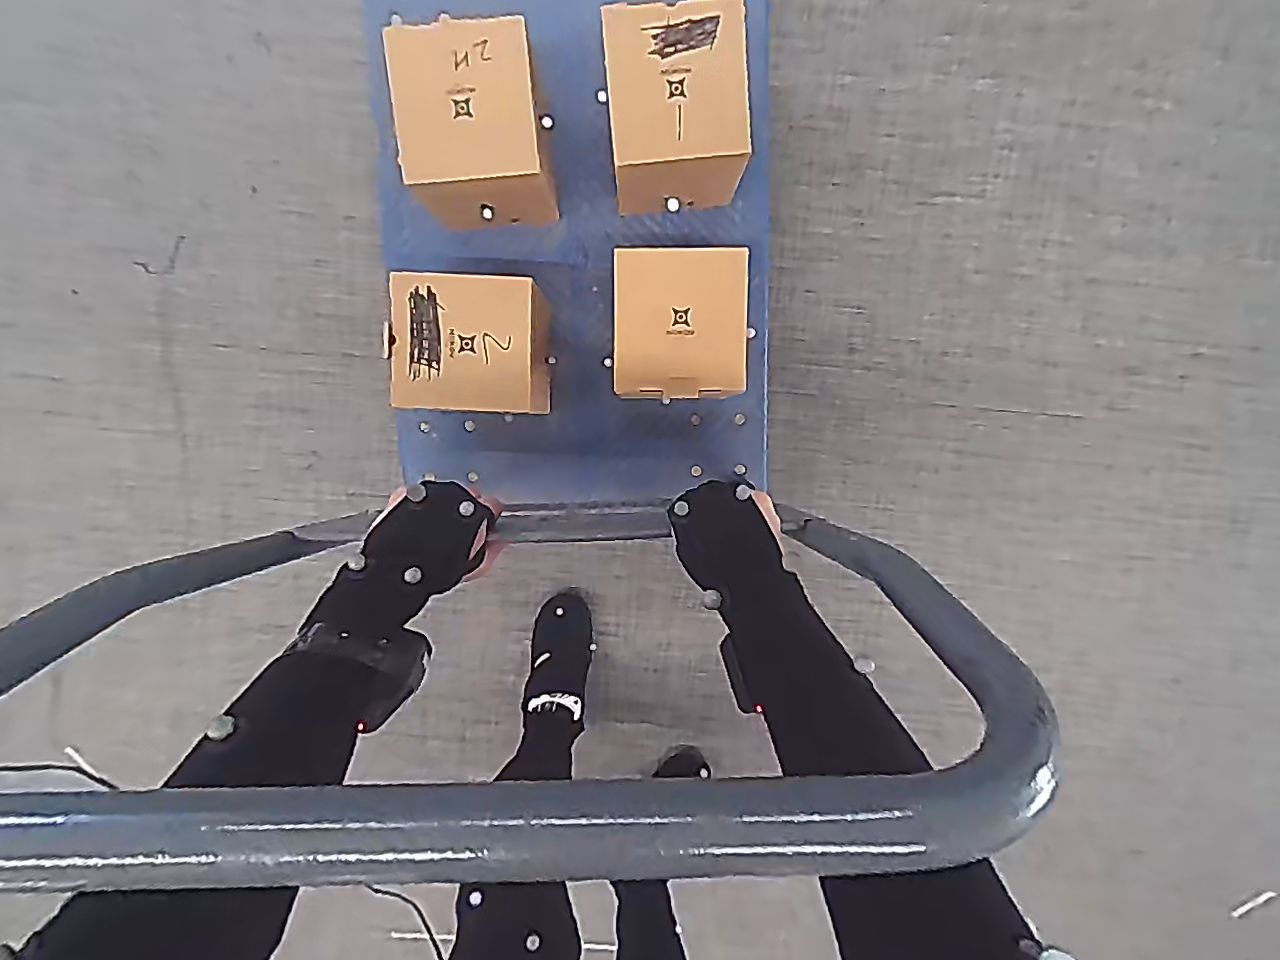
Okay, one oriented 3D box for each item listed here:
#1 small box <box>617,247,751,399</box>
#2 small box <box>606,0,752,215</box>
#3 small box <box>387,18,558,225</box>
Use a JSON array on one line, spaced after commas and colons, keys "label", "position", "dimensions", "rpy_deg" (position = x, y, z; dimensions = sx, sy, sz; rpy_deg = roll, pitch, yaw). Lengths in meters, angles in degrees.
[{"label": "small box", "position": [0.051, -0.204, 0.743], "dimensions": [0.168, 0.176, 0.179], "rpy_deg": [0, 97, 0]}, {"label": "small box", "position": [0.046, -0.472, 0.708], "dimensions": [0.168, 0.176, 0.179], "rpy_deg": [-4, 98, 1]}, {"label": "small box", "position": [-0.205, -0.450, 0.711], "dimensions": [0.168, 0.176, 0.179], "rpy_deg": [-5, 97, 0]}]
